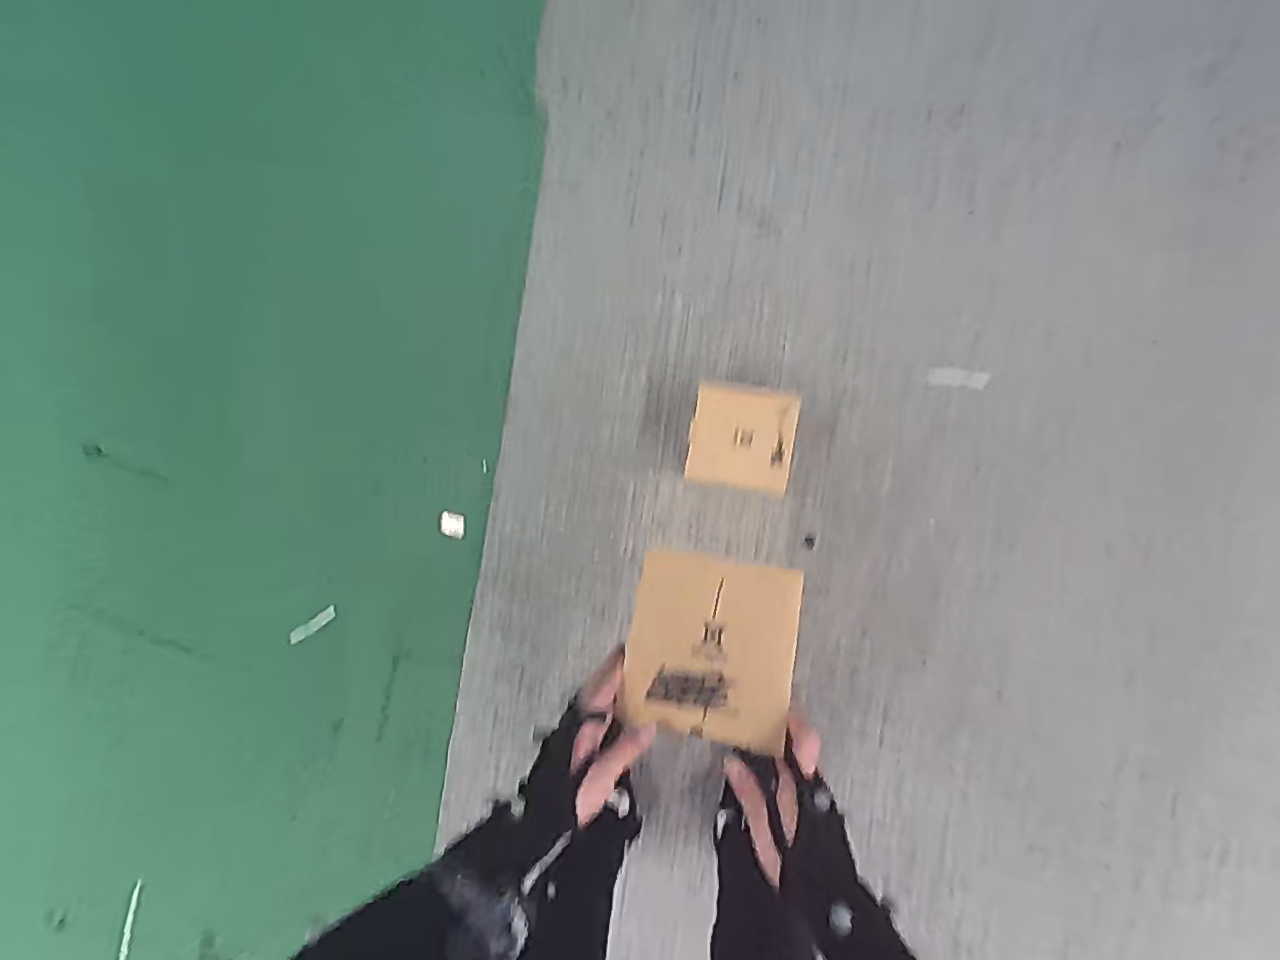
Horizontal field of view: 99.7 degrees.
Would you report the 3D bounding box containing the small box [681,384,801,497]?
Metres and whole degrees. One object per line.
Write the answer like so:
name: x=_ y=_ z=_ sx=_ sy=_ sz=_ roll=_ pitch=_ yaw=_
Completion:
small box: x=0.179 y=-0.063 z=0.984 sx=0.179 sy=0.176 sz=0.168 roll=10 pitch=88 yaw=8
